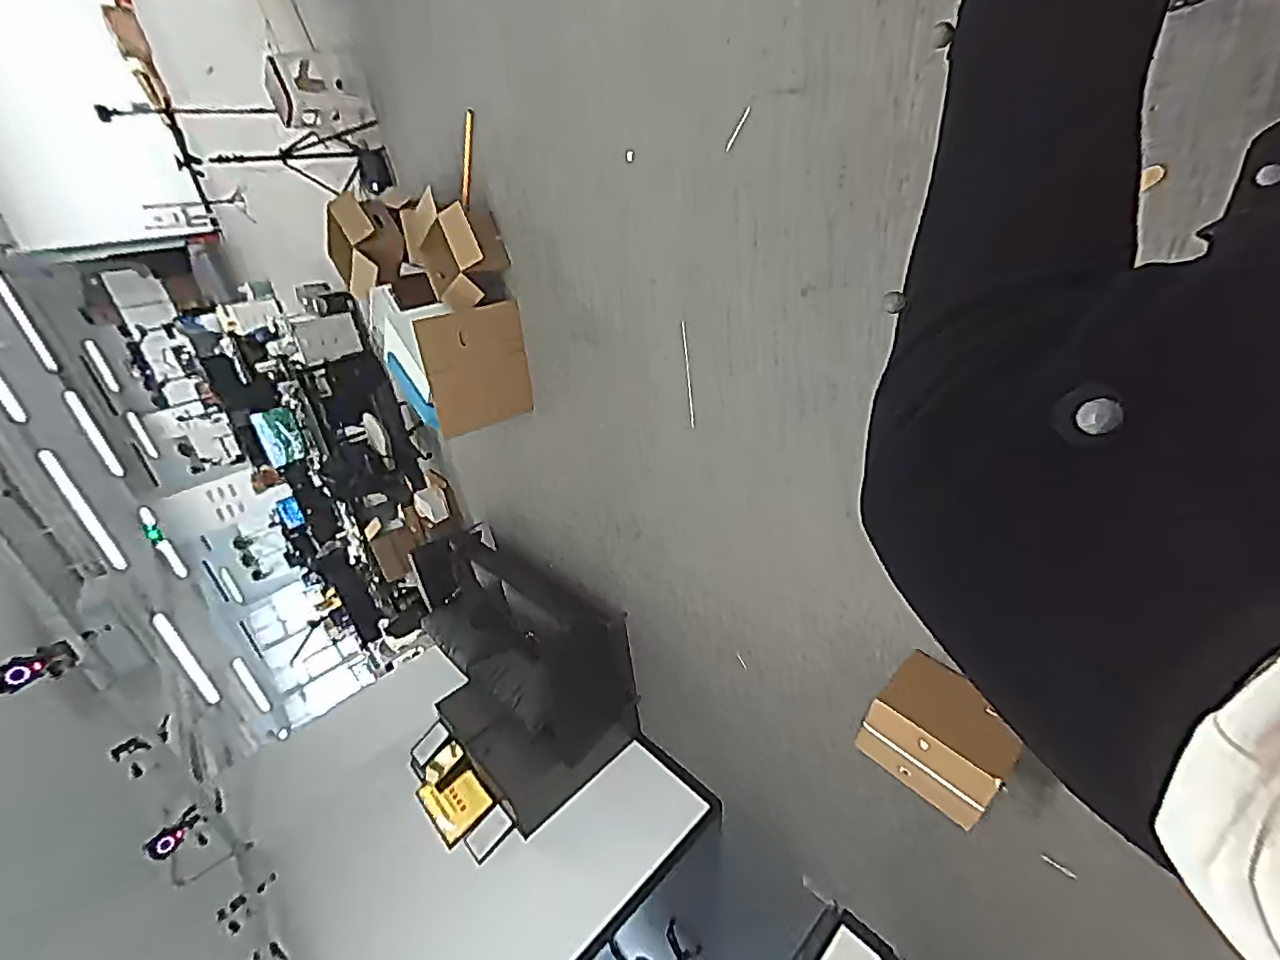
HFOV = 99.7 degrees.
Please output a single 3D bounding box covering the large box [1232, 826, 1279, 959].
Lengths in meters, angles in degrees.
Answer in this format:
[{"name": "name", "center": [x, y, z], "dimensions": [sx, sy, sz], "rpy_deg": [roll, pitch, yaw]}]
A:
[{"name": "large box", "center": [1.691, 1.063, 1.216], "dimensions": [0.408, 0.320, 0.320], "rpy_deg": [-28, 91, 55]}]
